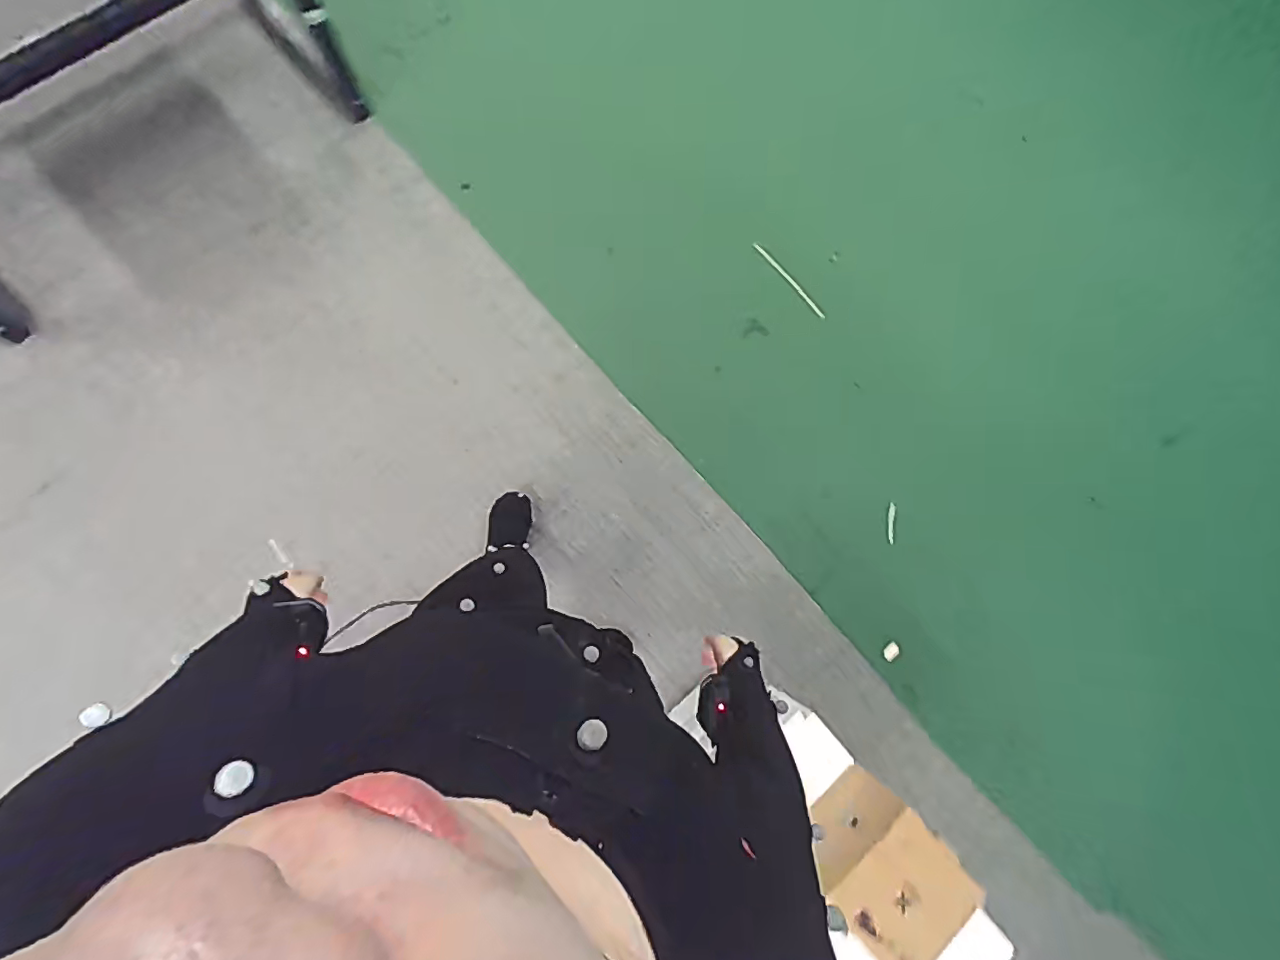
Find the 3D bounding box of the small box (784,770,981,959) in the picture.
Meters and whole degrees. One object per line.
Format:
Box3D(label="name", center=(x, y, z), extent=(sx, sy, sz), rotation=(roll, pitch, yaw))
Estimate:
Box3D(label="small box", center=(0.351, 0.583, 0.818), extent=(0.179, 0.176, 0.168), rotation=(-40, 87, -10))
